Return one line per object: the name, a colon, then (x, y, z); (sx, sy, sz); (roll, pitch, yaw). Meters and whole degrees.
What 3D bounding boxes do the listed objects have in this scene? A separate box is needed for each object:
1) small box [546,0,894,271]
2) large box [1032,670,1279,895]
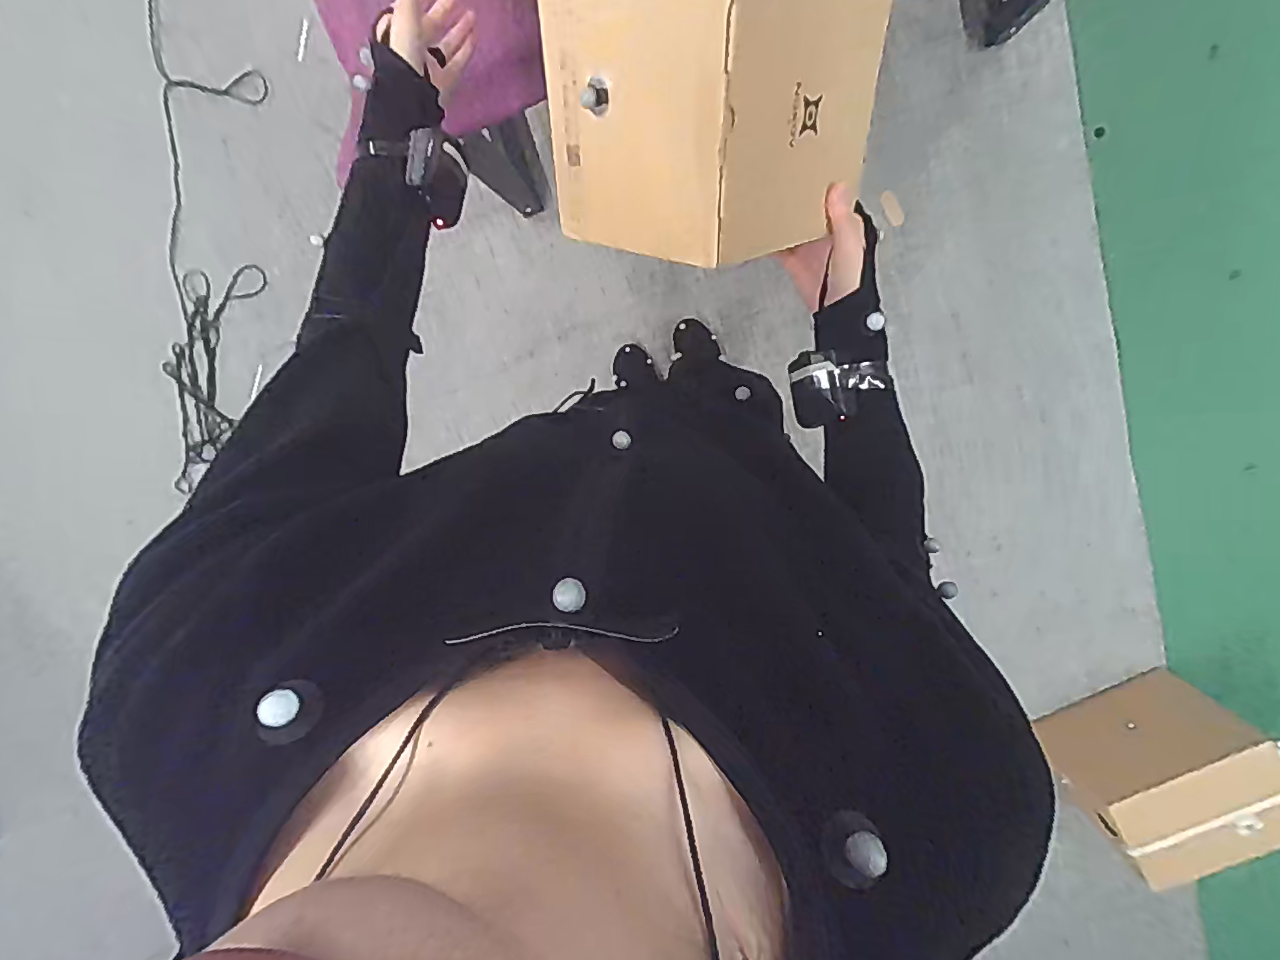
small box: (0.054, -0.270, 0.405); (0.176, 0.179, 0.168); (31, 136, 38)
large box: (1.406, 0.799, 1.466); (0.408, 0.320, 0.320); (-32, 100, 10)
